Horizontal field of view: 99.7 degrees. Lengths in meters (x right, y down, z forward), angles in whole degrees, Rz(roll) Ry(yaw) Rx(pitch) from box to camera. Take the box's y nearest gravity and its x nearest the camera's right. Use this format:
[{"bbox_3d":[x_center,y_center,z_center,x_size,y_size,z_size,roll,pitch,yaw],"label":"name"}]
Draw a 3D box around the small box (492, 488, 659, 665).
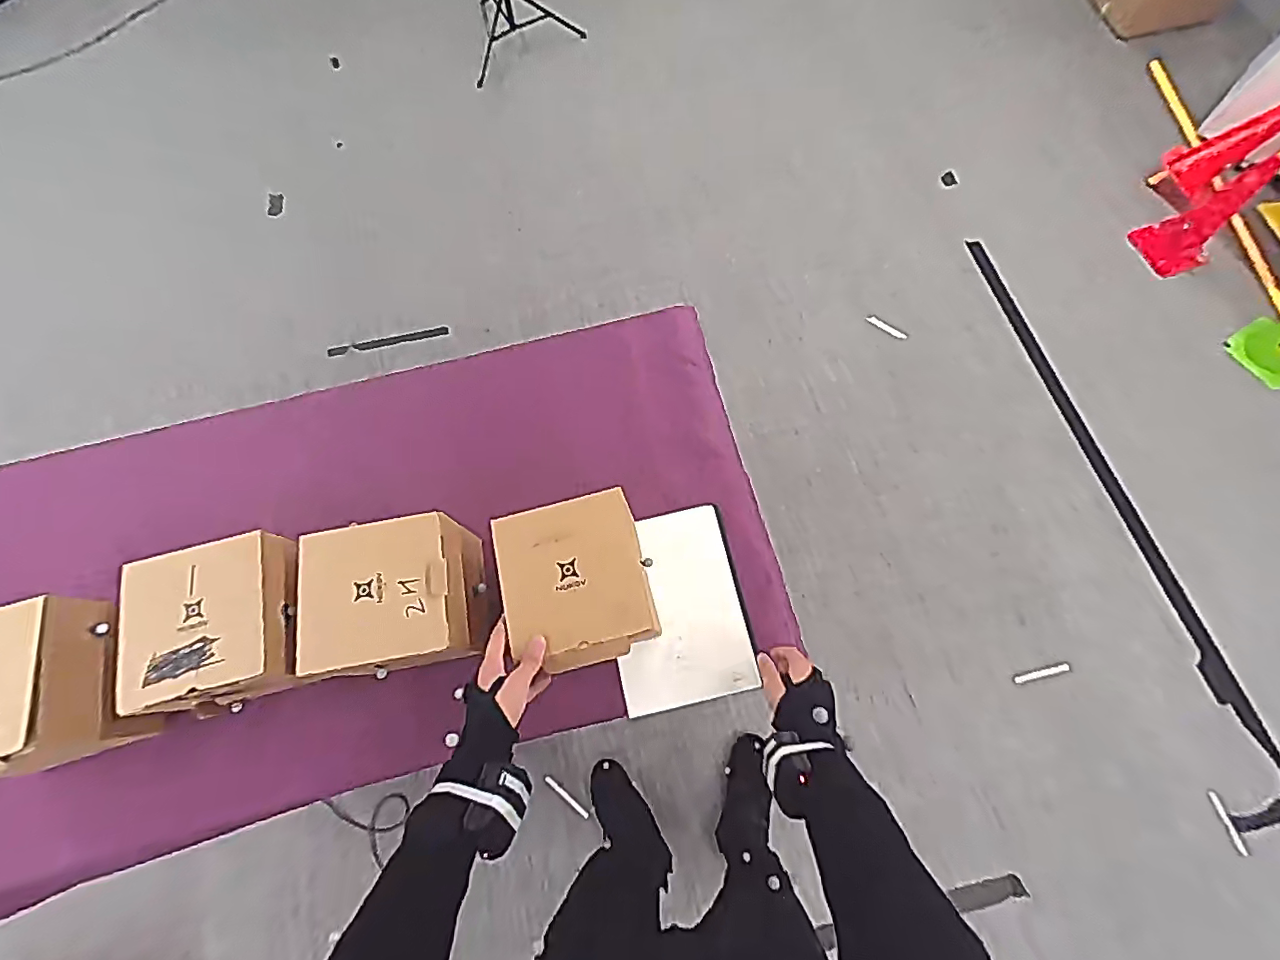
[{"bbox_3d":[-0.074,0.131,0.699,0.168,0.176,0.179,-14,71,0],"label":"small box"}]
